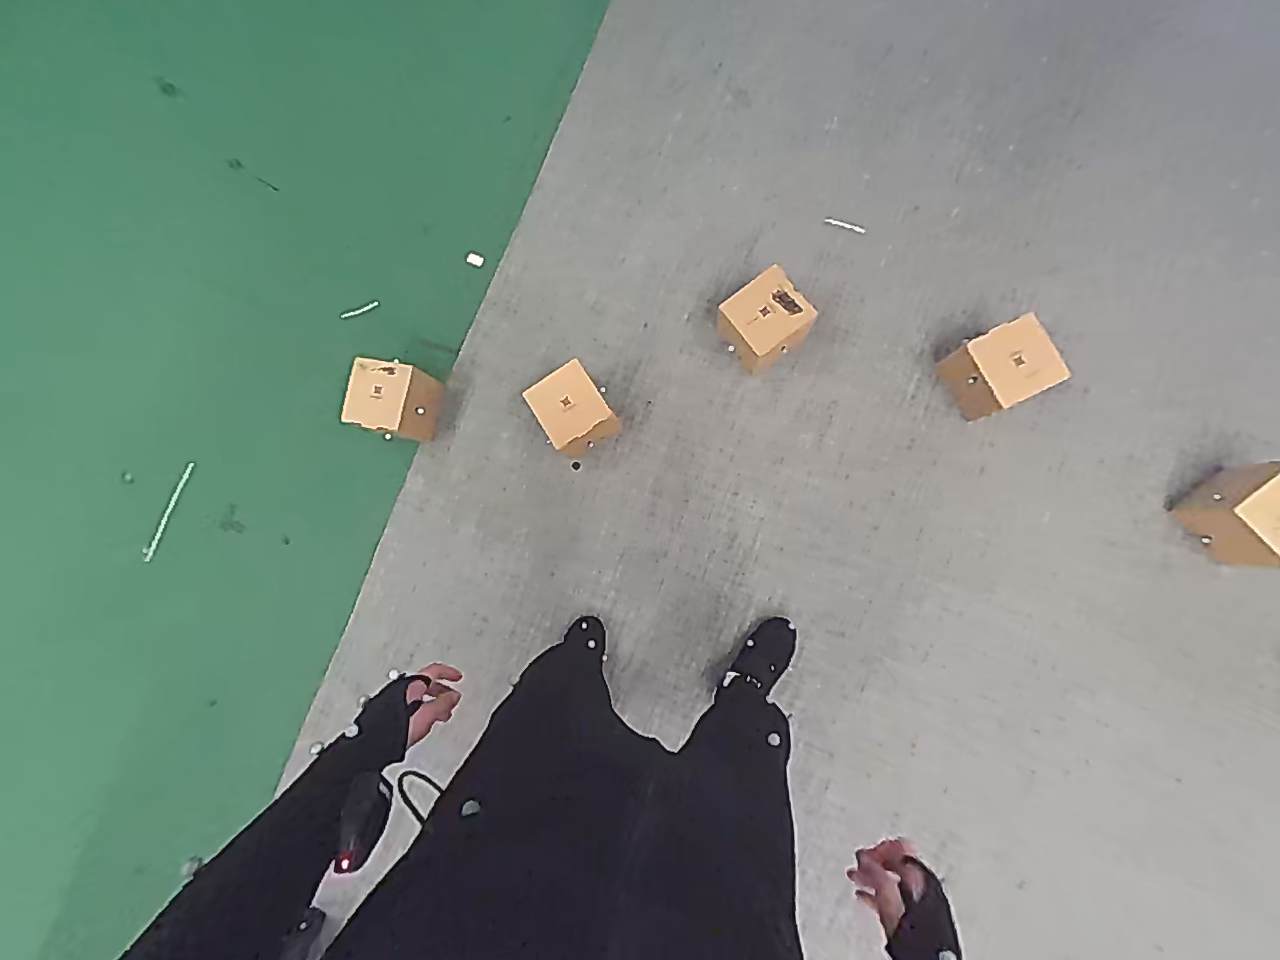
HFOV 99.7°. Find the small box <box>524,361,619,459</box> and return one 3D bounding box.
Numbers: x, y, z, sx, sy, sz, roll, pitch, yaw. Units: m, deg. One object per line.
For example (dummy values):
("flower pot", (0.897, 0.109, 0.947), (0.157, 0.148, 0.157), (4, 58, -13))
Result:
("small box", (-0.172, -0.174, 1.411), (0.168, 0.176, 0.179), (-33, 83, 2))

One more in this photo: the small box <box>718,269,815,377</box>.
("small box", (0.312, -0.393, 1.379), (0.179, 0.176, 0.168), (-36, 81, 2))

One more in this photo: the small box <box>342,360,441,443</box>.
("small box", (-0.664, -0.206, 1.468), (0.168, 0.176, 0.179), (10, 85, 7))
